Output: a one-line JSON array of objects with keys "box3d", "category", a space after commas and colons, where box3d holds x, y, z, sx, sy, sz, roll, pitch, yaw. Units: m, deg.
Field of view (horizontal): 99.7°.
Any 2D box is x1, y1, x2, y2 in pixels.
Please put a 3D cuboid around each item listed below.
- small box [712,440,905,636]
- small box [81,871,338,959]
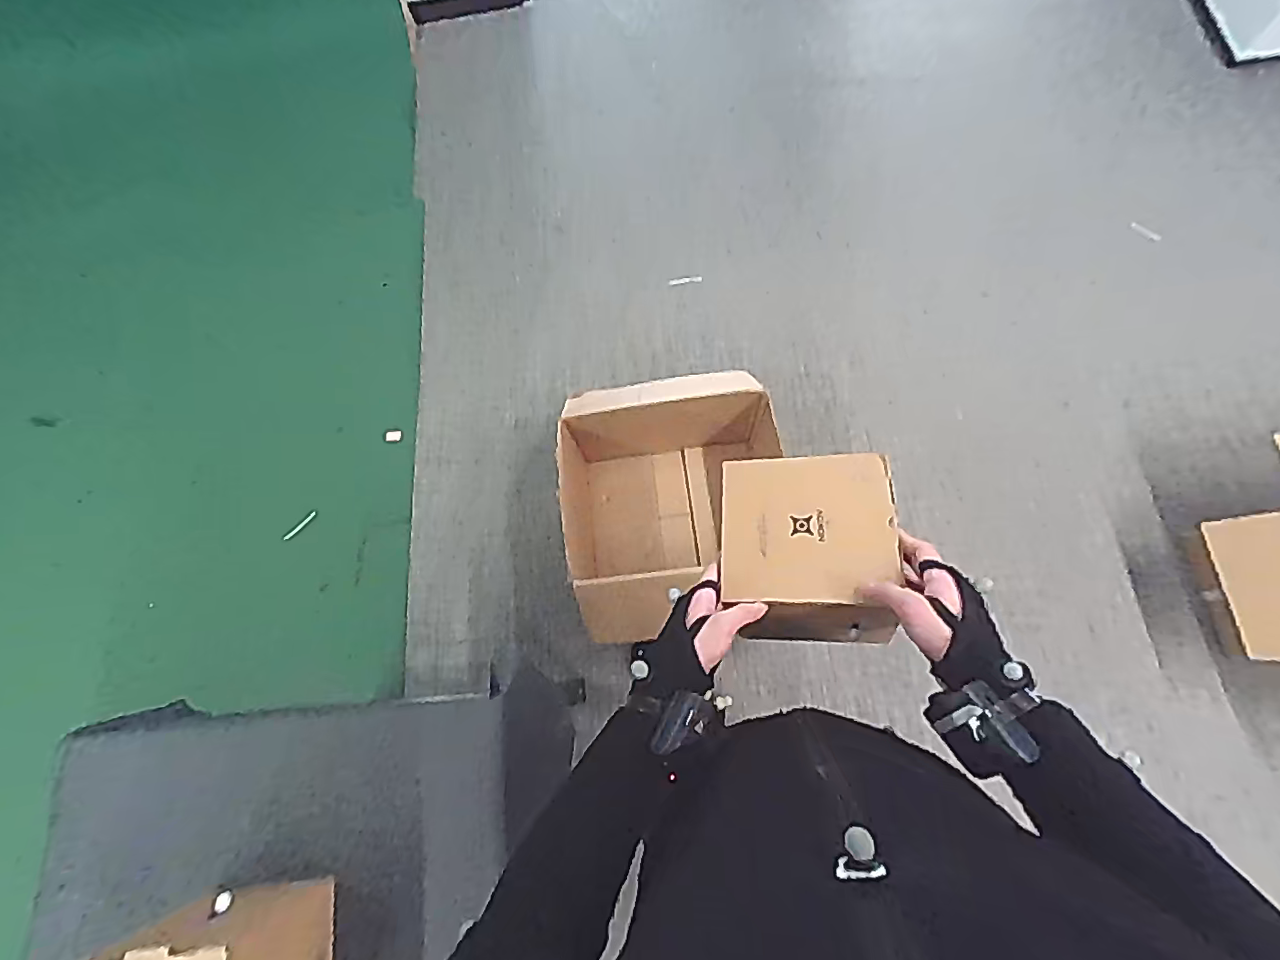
[{"box3d": [0.182, 0.073, 0.607, 0.179, 0.176, 0.168, -4, 60, 17], "category": "small box"}, {"box3d": [-0.453, 0.556, 0.585, 0.168, 0.176, 0.179, -11, 72, 0], "category": "small box"}]
